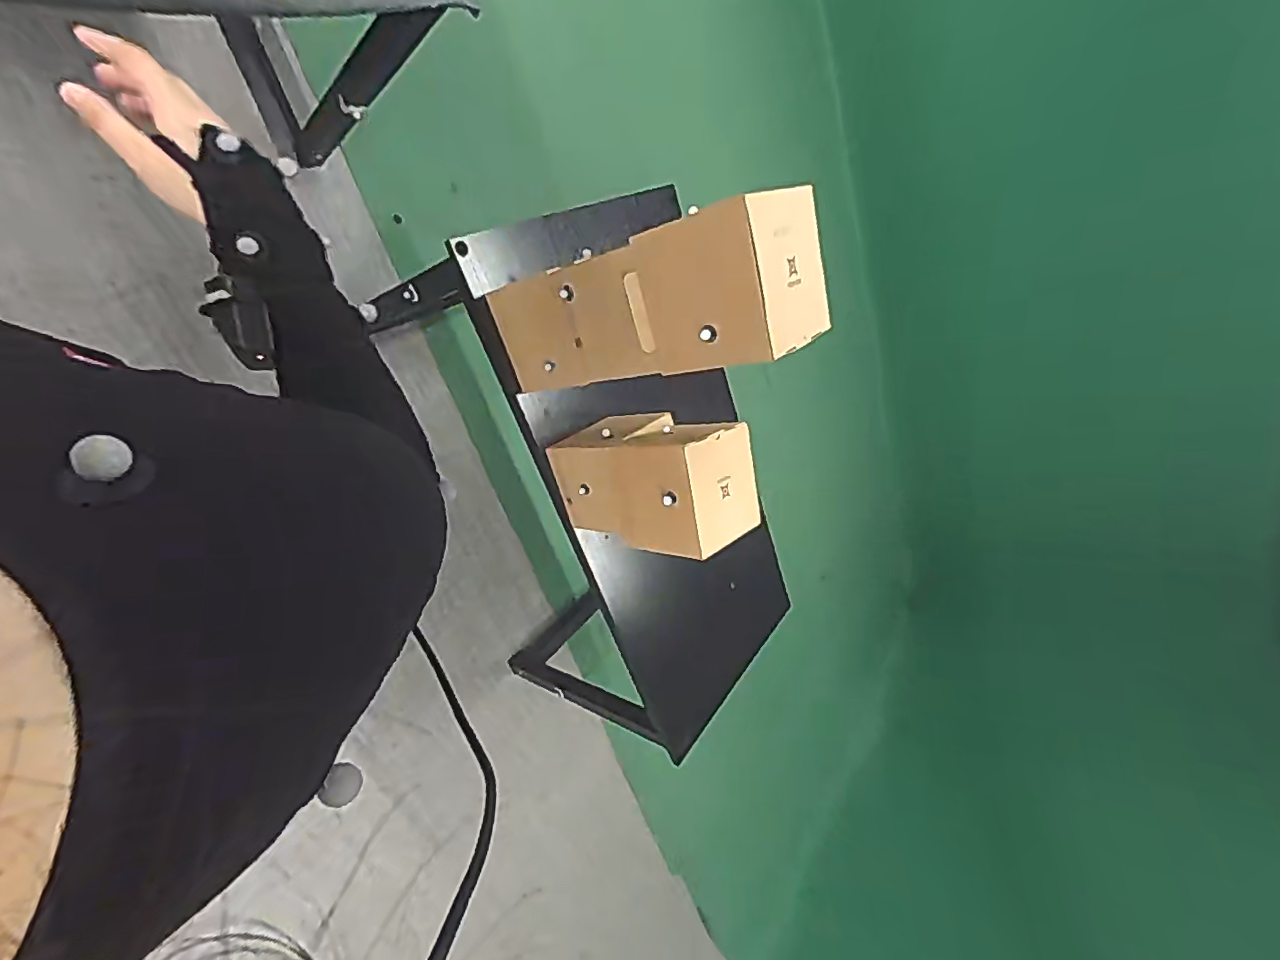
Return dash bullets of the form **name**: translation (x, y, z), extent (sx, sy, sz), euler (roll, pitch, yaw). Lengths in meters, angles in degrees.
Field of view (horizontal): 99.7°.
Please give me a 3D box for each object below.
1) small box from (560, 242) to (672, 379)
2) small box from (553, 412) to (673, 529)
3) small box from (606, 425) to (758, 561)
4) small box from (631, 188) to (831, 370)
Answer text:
- **small box**: translation (0.004, -0.254, 0.794), extent (0.179, 0.176, 0.168), euler (-34, 117, -40)
- **small box**: translation (-0.040, -0.017, 0.999), extent (0.179, 0.176, 0.168), euler (-33, 115, -40)
- **small box**: translation (0.068, 0.011, 0.878), extent (0.168, 0.176, 0.179), euler (-23, 108, -42)
- **small box**: translation (0.115, -0.242, 0.676), extent (0.168, 0.176, 0.179), euler (-34, 116, -41)
